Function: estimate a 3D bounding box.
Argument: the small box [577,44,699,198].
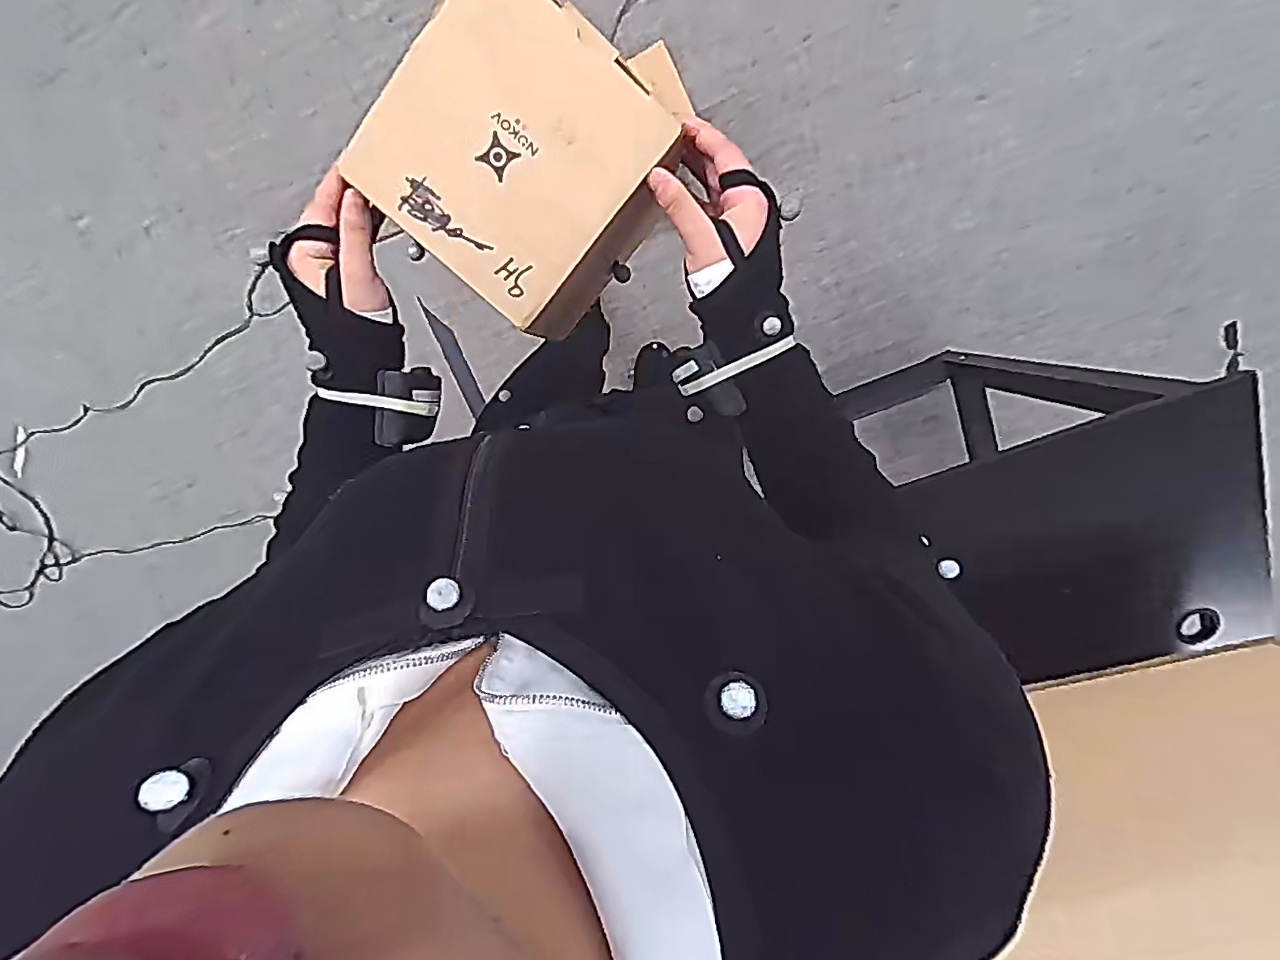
[{"bbox_3d":[0.000,-0.684,1.058,0.179,0.176,0.168,-27,104,8],"label":"small box"}]

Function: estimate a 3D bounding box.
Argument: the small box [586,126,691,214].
[{"bbox_3d":[-0.001,-0.727,1.215,0.179,0.176,0.168,-24,104,9],"label":"small box"}]
